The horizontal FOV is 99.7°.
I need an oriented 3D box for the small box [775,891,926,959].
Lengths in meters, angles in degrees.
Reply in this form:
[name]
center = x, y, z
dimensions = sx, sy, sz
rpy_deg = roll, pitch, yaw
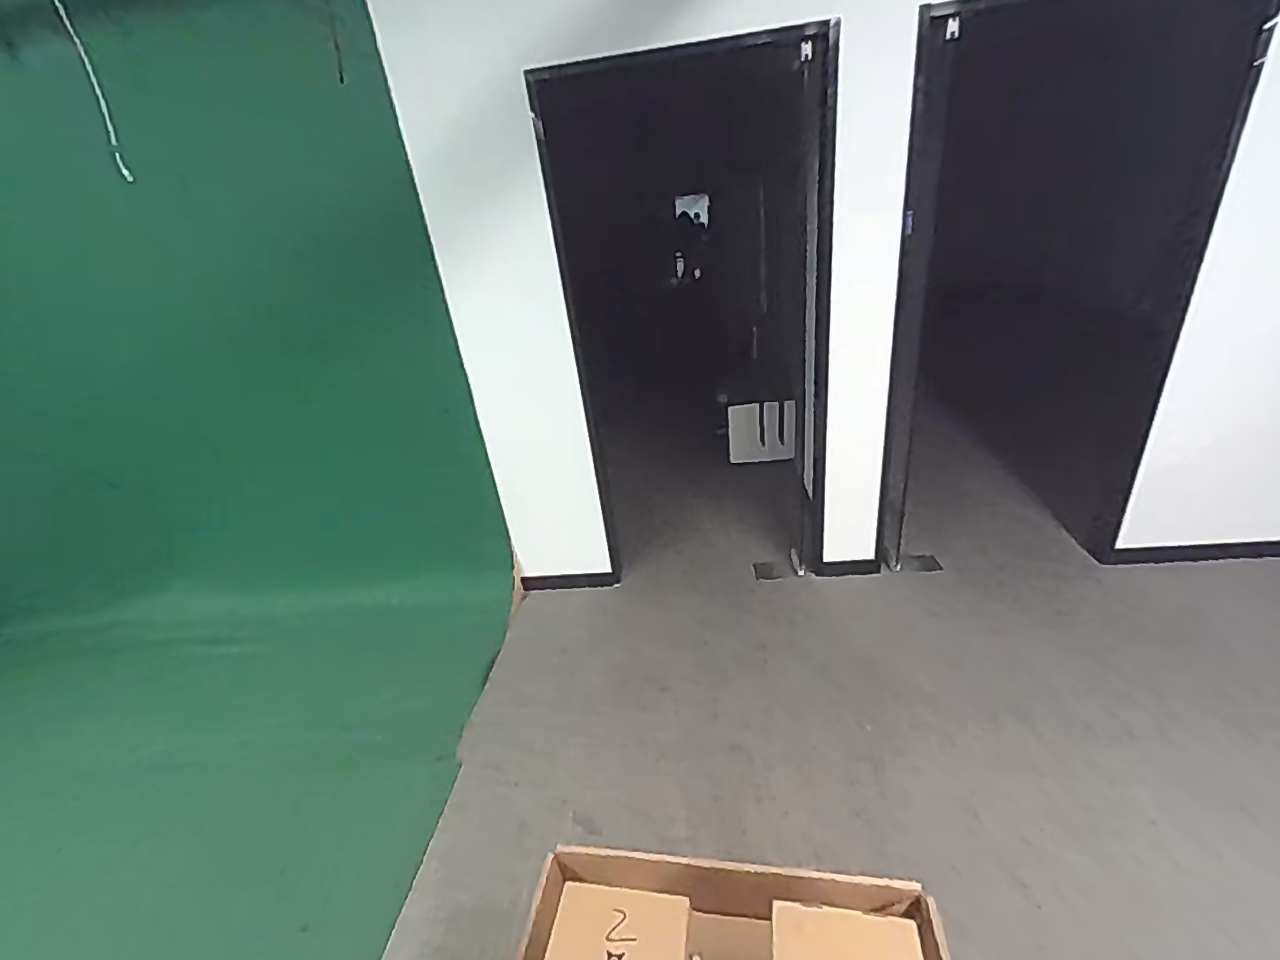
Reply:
[small box]
center = 0.240, 0.623, 0.618
dimensions = 0.168, 0.176, 0.179
rpy_deg = -2, 28, 15
